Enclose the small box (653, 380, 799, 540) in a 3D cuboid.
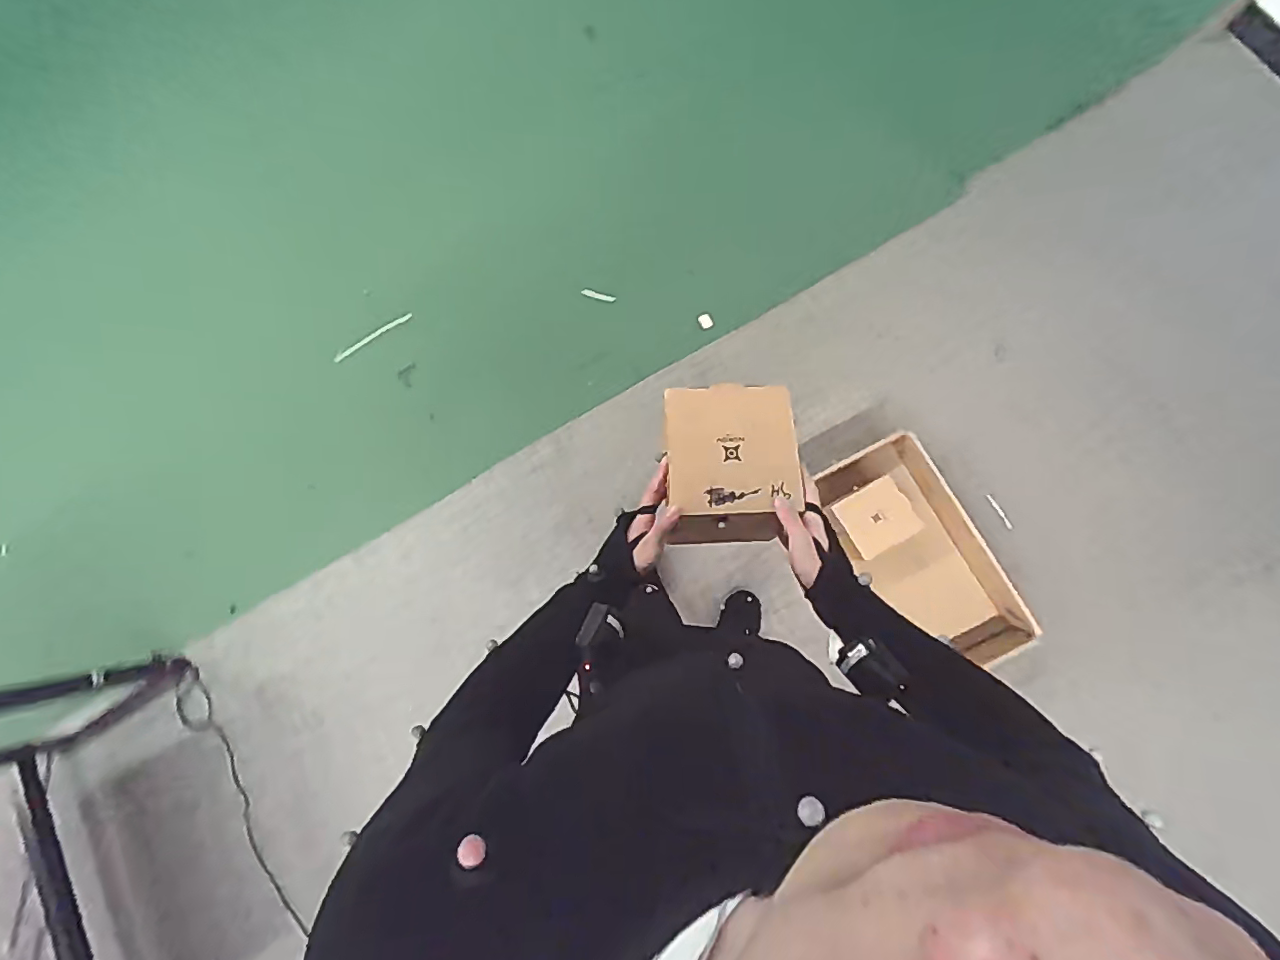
[{"bbox_3d":[0.107,-0.022,0.752,0.168,0.176,0.179,-3,73,-2],"label":"small box"}]
